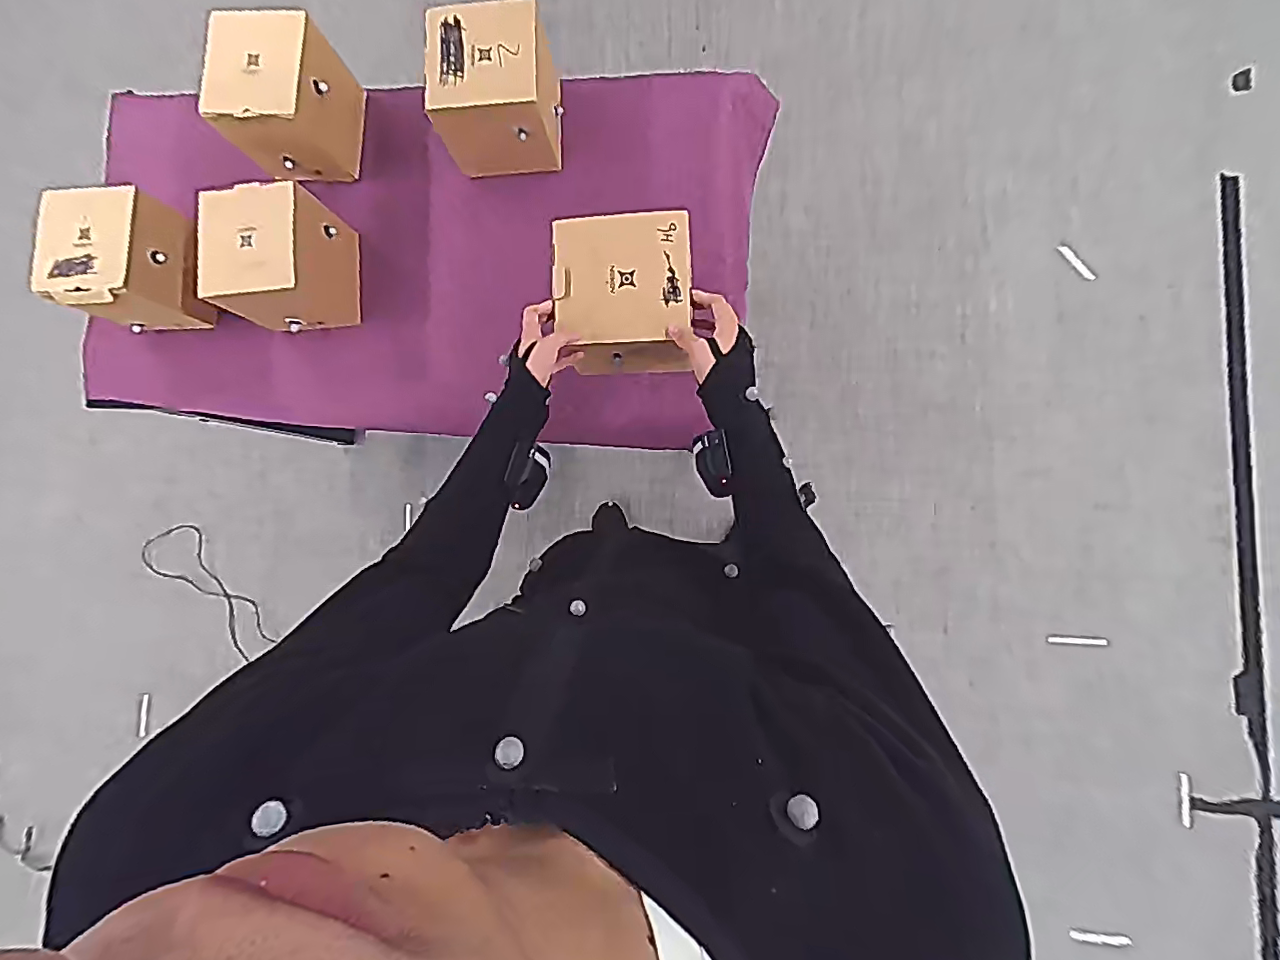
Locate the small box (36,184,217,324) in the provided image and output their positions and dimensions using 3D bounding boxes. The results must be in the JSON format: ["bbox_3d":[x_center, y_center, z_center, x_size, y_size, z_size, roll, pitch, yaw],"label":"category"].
[{"bbox_3d":[-0.875,-0.380,0.941,0.168,0.176,0.179,0,85,5],"label":"small box"}]

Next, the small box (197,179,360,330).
[{"bbox_3d":[-0.602,-0.372,0.919,0.168,0.176,0.179,-3,86,6],"label":"small box"}]

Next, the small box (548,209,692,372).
[{"bbox_3d":[-0.020,-0.251,0.756,0.179,0.176,0.168,-1,88,7],"label":"small box"}]

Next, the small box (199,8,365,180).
[{"bbox_3d":[-0.602,-0.655,0.931,0.168,0.176,0.179,4,88,5],"label":"small box"}]
